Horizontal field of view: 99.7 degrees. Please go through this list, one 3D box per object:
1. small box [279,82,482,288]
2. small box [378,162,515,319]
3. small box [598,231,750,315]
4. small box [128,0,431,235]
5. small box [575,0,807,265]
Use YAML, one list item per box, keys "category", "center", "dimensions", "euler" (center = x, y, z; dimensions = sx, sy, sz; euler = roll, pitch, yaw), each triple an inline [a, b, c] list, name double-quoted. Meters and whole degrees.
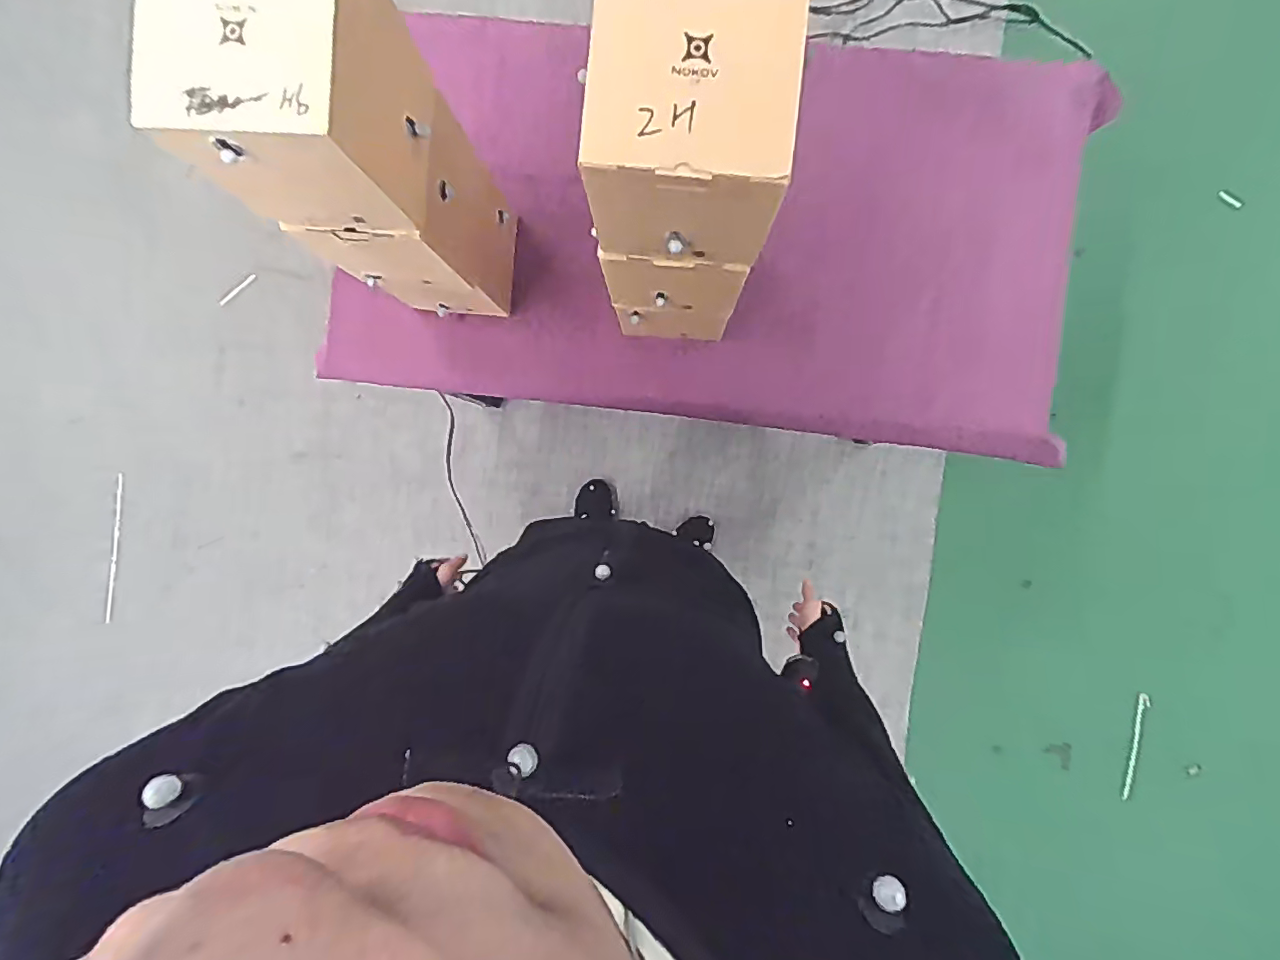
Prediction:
- category: "small box"
  center: [-0.307, -0.354, 0.673]
  dimensions: [0.168, 0.176, 0.179]
  euler: [5, 90, 3]
- category: "small box"
  center: [-0.299, -0.364, 0.836]
  dimensions: [0.168, 0.176, 0.179]
  euler: [5, 92, 3]
- category: "small box"
  center: [0.046, -0.317, 0.657]
  dimensions: [0.168, 0.176, 0.179]
  euler: [5, 91, 3]
- category: "small box"
  center: [-0.315, -0.359, 0.508]
  dimensions: [0.168, 0.176, 0.179]
  euler: [5, 90, 5]
- category: "small box"
  center: [0.042, -0.320, 0.492]
  dimensions: [0.168, 0.176, 0.179]
  euler: [6, 91, 3]
